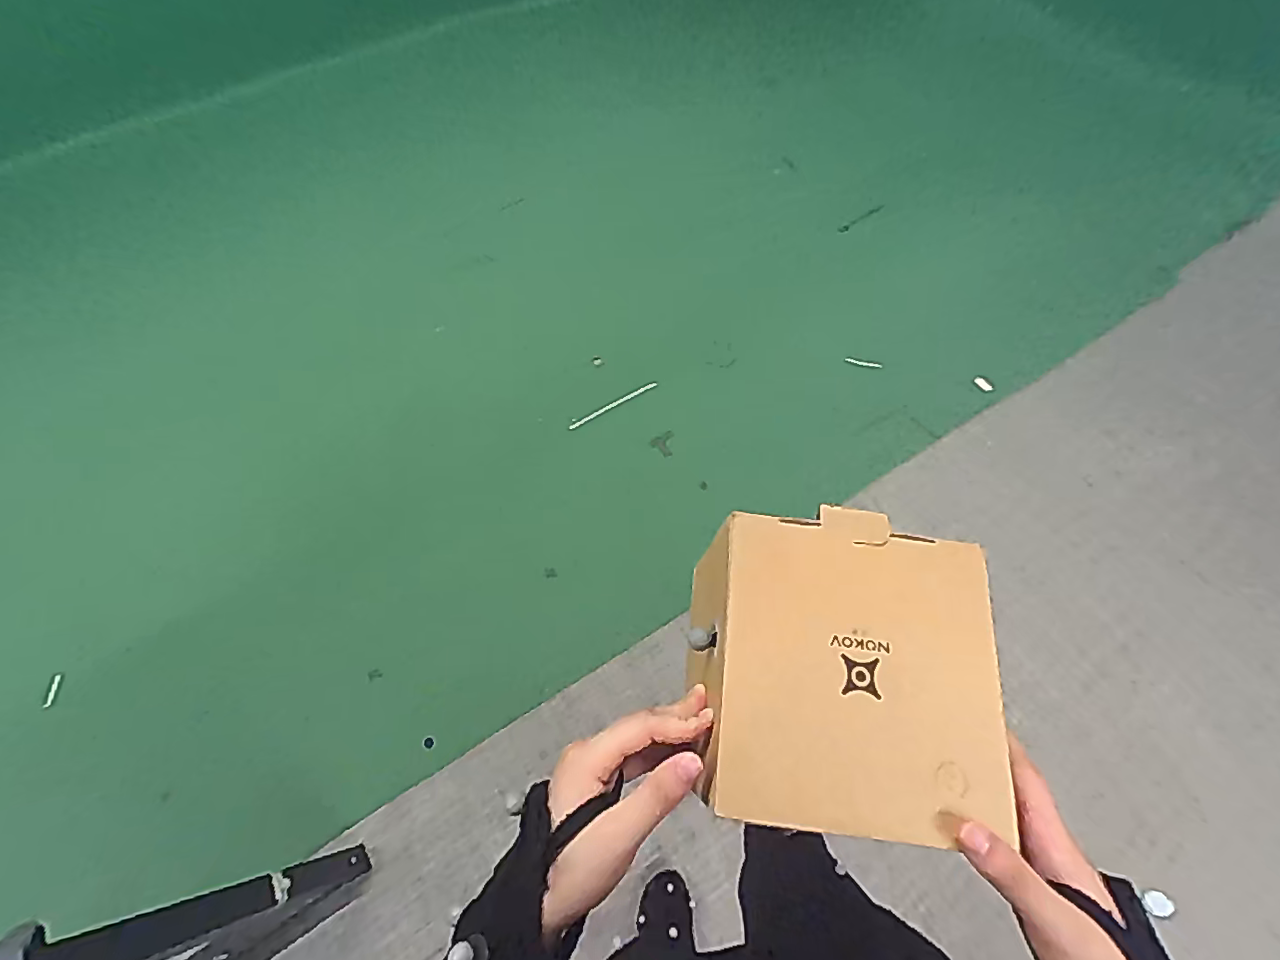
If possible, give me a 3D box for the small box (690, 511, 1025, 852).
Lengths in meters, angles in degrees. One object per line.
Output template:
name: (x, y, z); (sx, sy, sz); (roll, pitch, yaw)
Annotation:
small box: (0.130, 0.138, 0.392); (0.168, 0.176, 0.179); (7, 67, 0)
